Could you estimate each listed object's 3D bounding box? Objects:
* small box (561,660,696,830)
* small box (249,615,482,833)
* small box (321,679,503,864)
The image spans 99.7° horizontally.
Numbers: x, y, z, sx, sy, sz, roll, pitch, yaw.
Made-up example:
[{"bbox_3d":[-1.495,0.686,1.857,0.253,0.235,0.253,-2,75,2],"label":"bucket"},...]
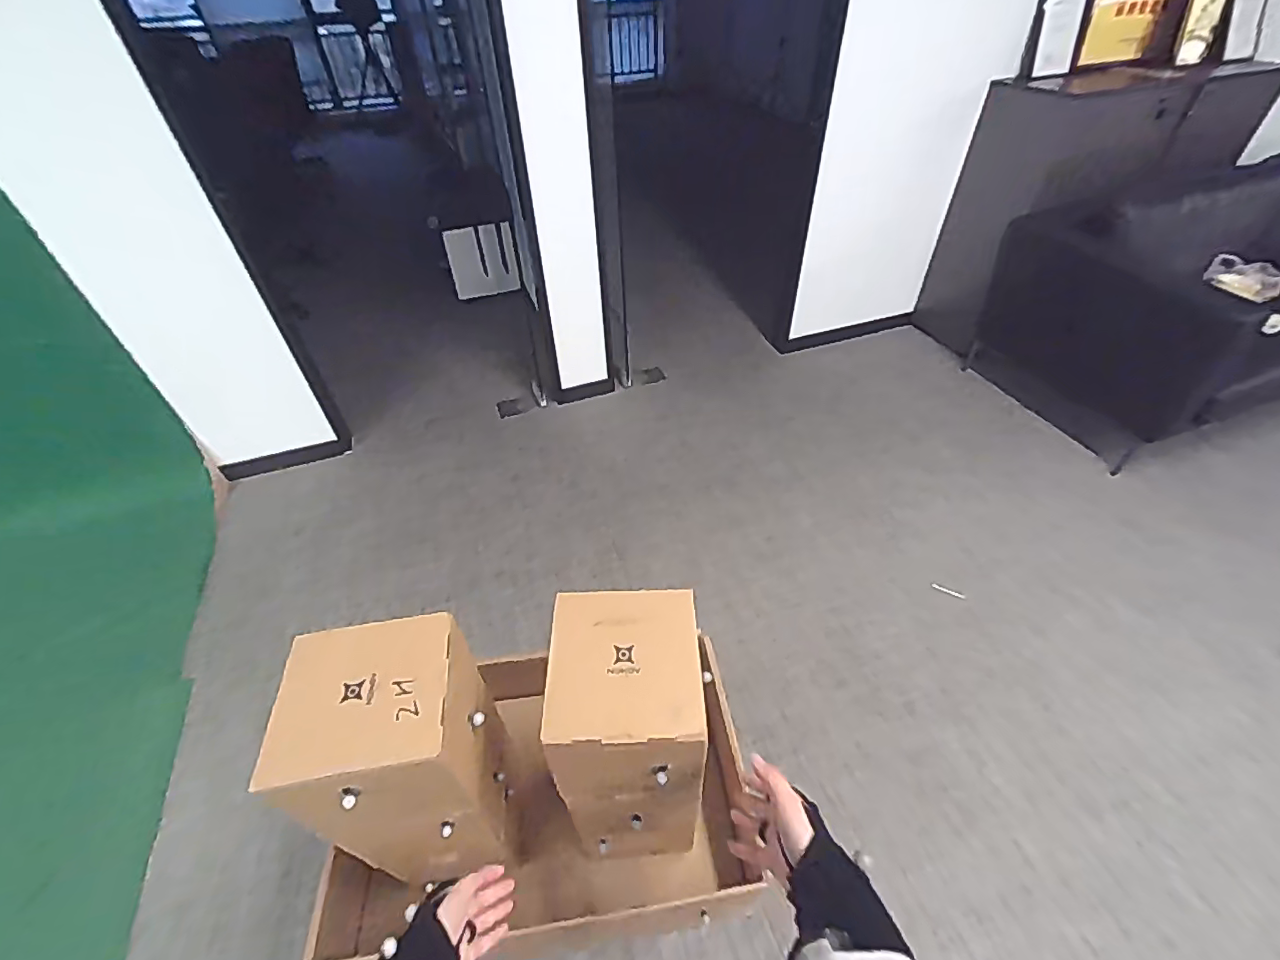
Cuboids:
[{"bbox_3d":[-0.012,0.373,0.754,0.168,0.176,0.179,-2,45,-1],"label":"small box"},{"bbox_3d":[-0.291,0.281,0.621,0.179,0.176,0.168,-6,45,-7],"label":"small box"},{"bbox_3d":[-0.293,0.398,0.738,0.179,0.176,0.168,-6,44,-7],"label":"small box"}]
